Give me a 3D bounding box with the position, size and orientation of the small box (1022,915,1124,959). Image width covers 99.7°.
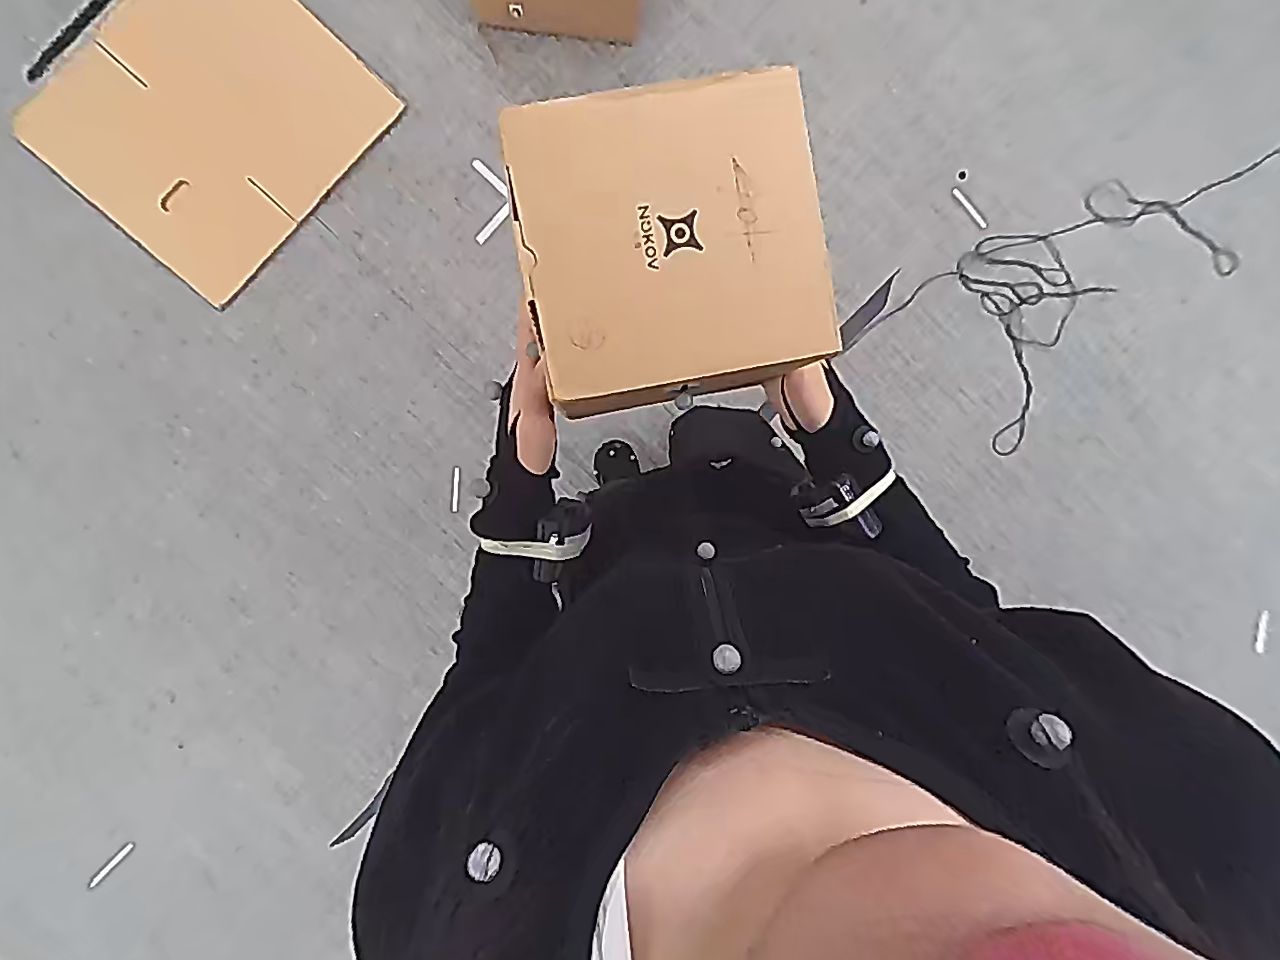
[{"bbox_3d":[0.684,0.806,0.786,0.179,0.176,0.168,-42,97,-1],"label":"small box"}]

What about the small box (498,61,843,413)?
[{"bbox_3d":[0.016,-0.146,0.386,0.179,0.176,0.168,-11,95,-3],"label":"small box"}]
